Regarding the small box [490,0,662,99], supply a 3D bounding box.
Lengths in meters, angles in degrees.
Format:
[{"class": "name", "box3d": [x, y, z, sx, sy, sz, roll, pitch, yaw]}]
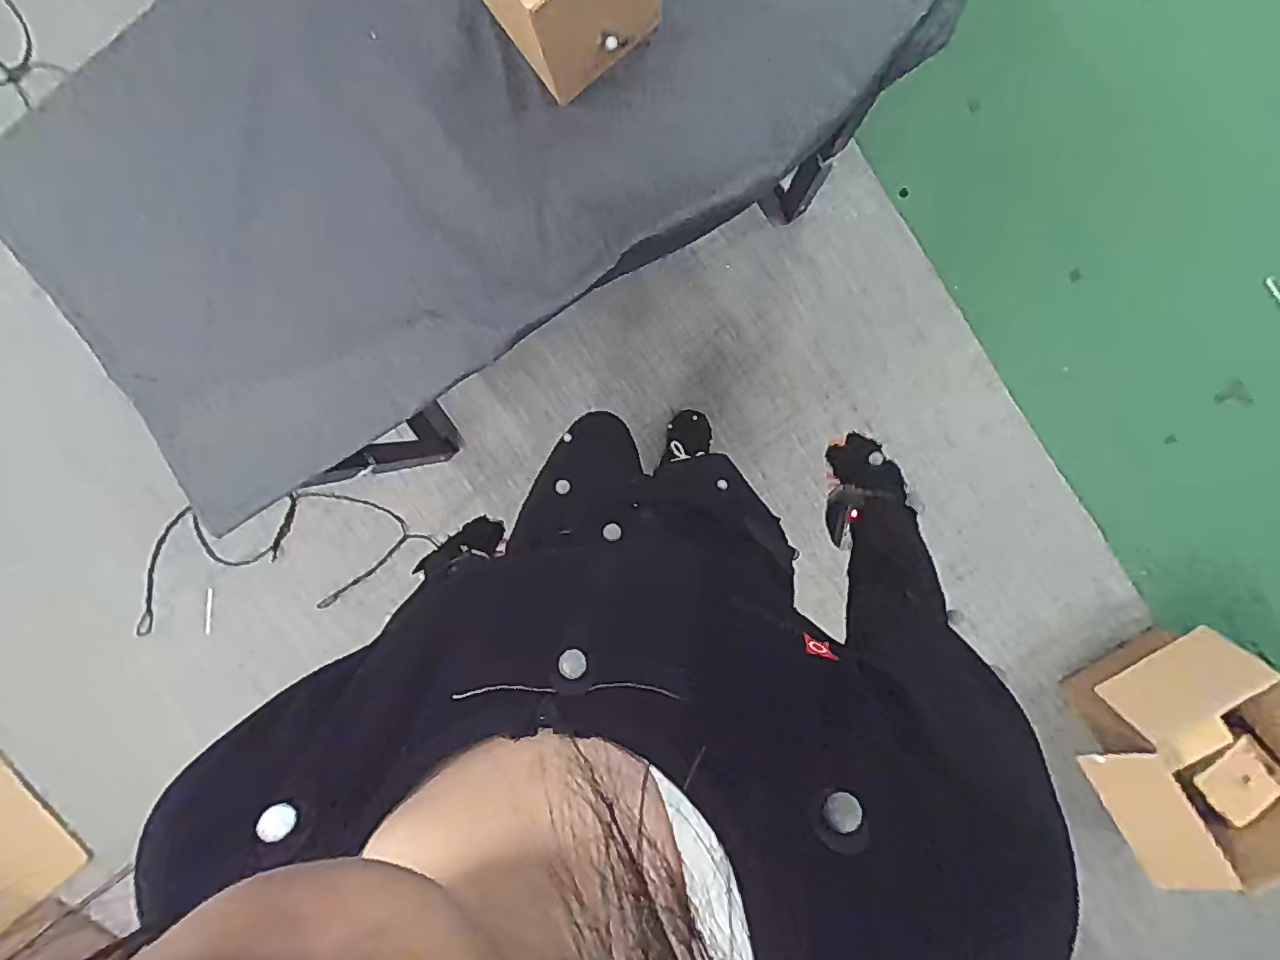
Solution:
[{"class": "small box", "box3d": [-0.089, -0.597, 0.616, 0.168, 0.176, 0.179, -36, 93, 7]}]
